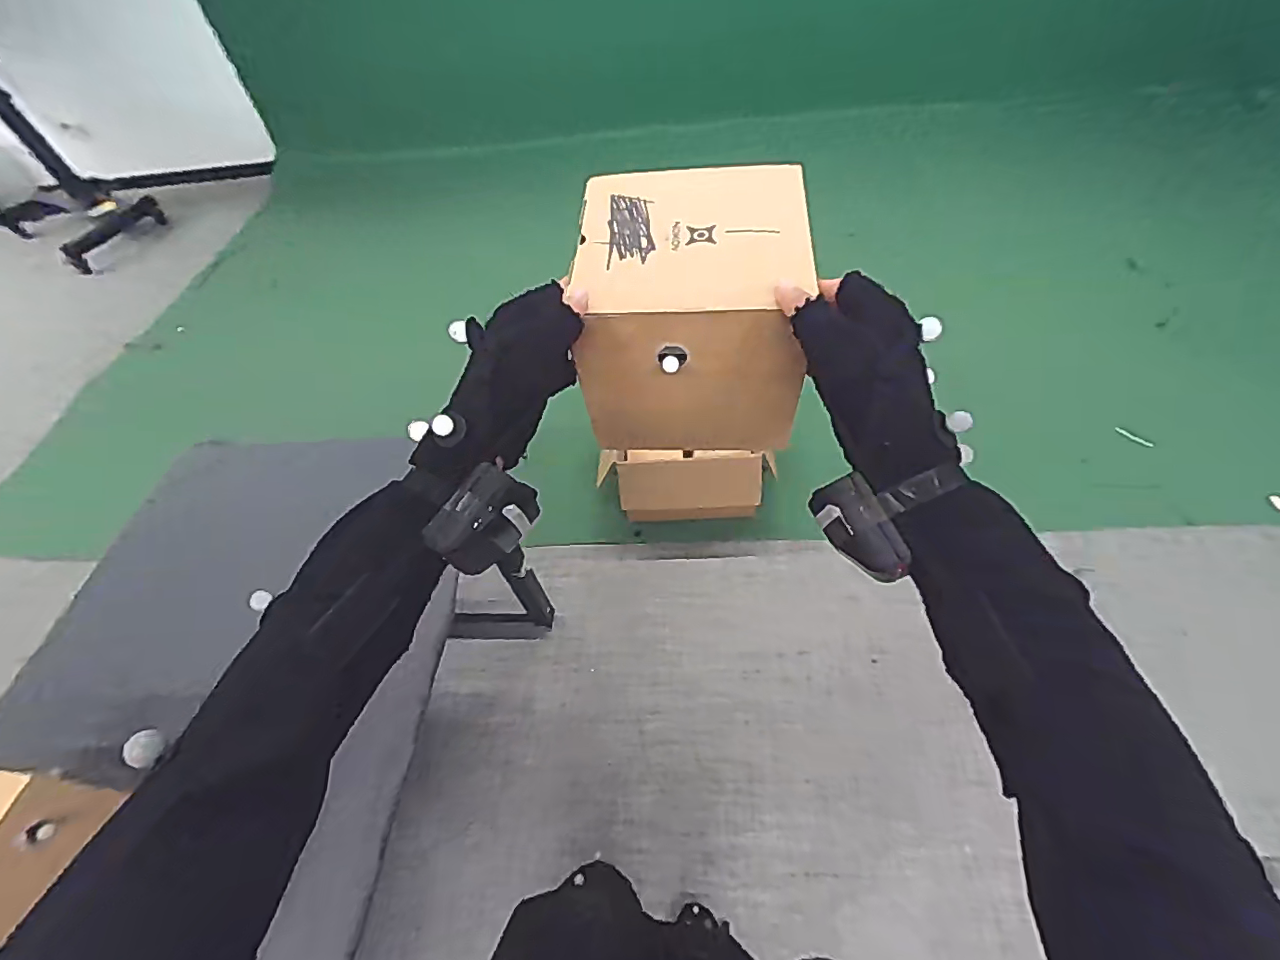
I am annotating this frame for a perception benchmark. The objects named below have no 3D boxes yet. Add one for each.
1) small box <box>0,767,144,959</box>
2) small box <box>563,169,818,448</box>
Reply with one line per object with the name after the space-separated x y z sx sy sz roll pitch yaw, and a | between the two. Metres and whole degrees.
-0.698 0.417 0.575 0.168 0.176 0.179 0 52 8 | small box
0.046 -0.140 0.472 0.179 0.176 0.168 2 60 7 | small box
